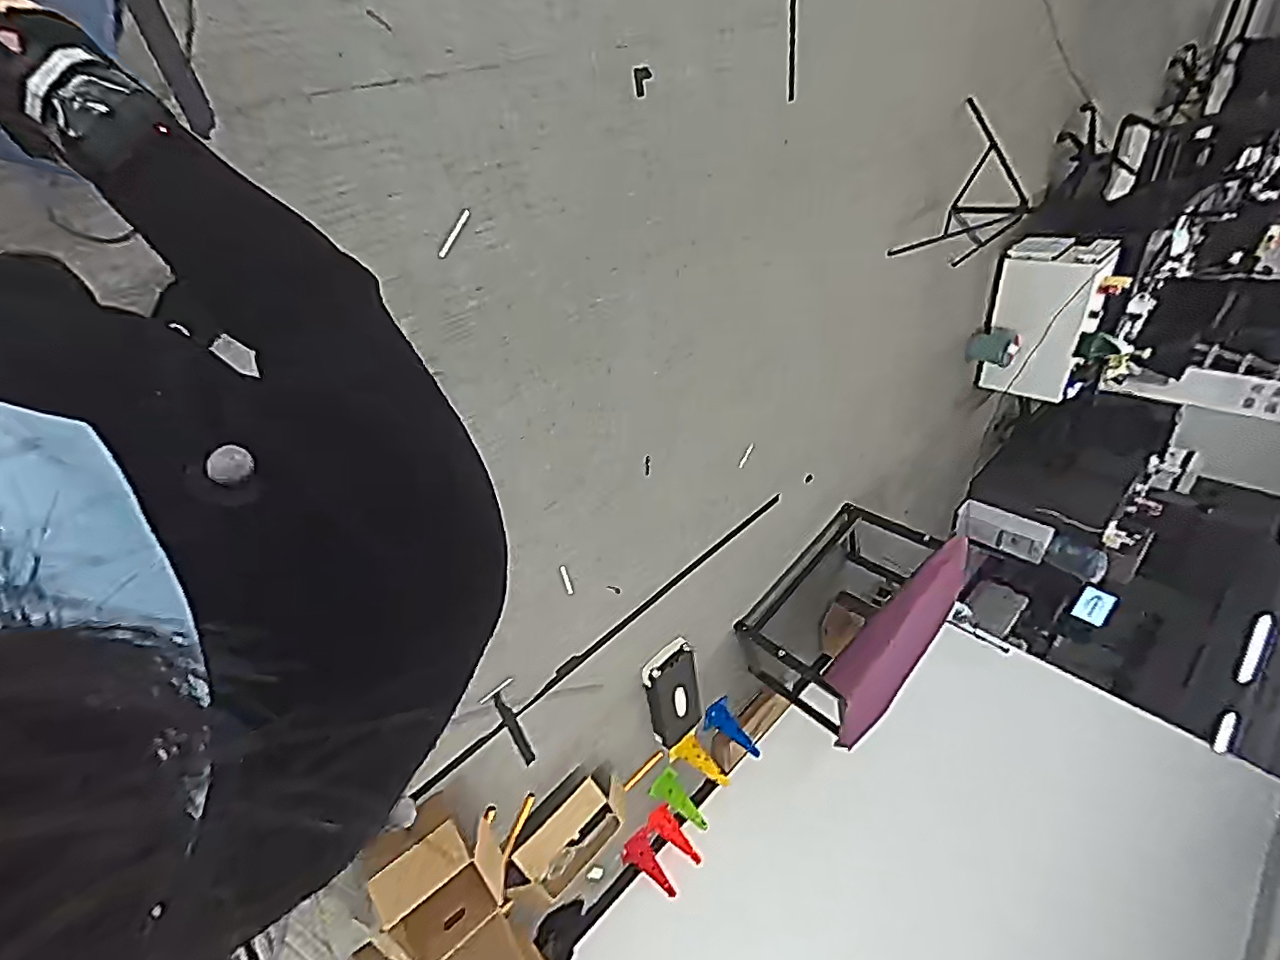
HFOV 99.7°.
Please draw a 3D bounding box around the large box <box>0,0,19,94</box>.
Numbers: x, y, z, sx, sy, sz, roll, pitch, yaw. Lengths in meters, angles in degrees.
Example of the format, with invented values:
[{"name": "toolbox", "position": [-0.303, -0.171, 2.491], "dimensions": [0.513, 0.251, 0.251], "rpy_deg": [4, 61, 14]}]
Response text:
[{"name": "large box", "position": [-0.896, -0.648, 0.505], "dimensions": [0.408, 0.320, 0.320], "rpy_deg": [1, 109, -46]}]
